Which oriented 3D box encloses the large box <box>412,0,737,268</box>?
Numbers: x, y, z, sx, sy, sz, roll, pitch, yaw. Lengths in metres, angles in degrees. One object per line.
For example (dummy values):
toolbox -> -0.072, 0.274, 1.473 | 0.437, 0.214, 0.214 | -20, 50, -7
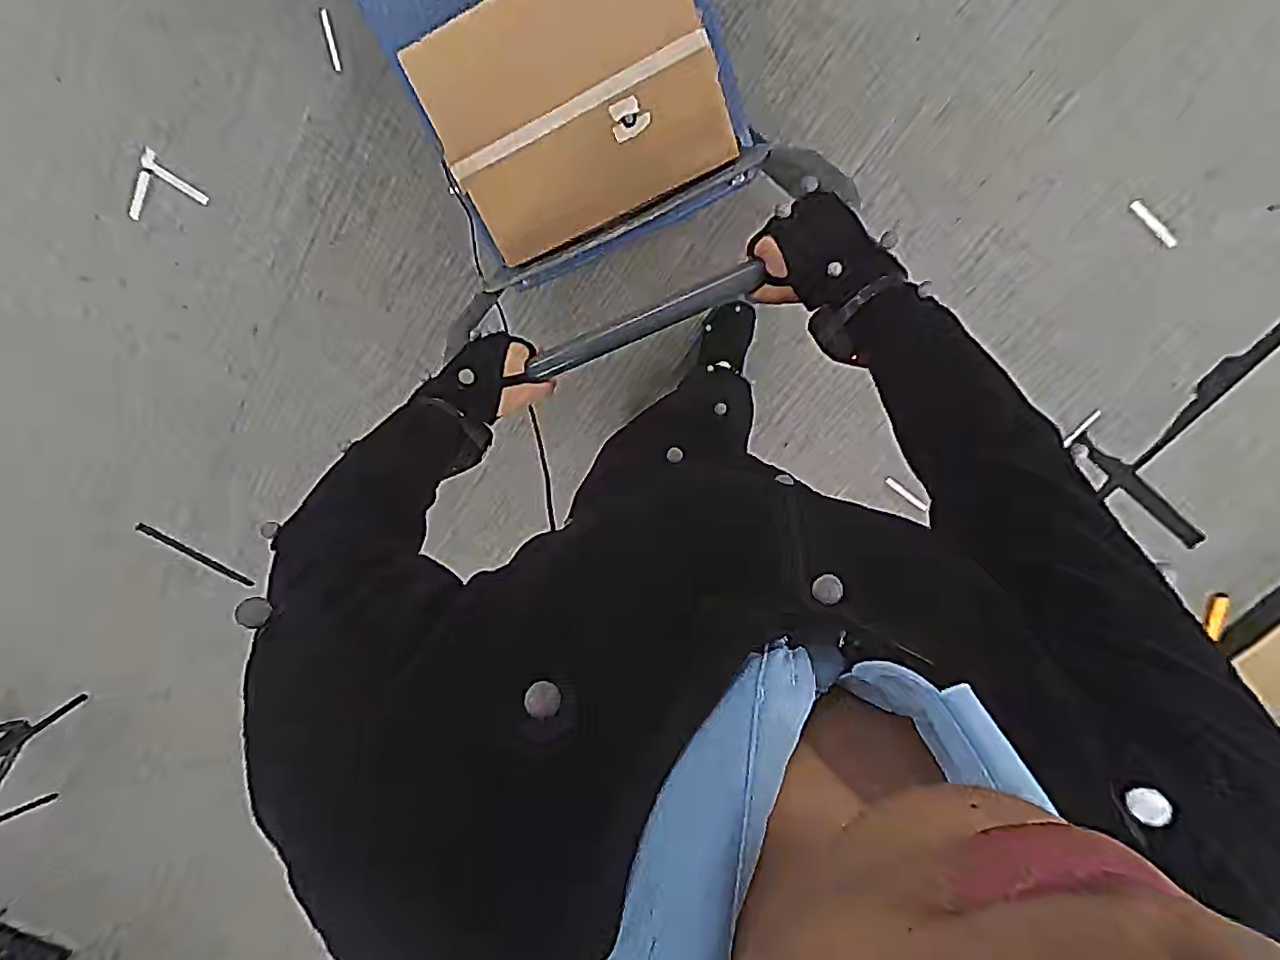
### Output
large box -> -0.094, -0.617, 0.934 | 0.408, 0.320, 0.320 | -23, 117, 10
